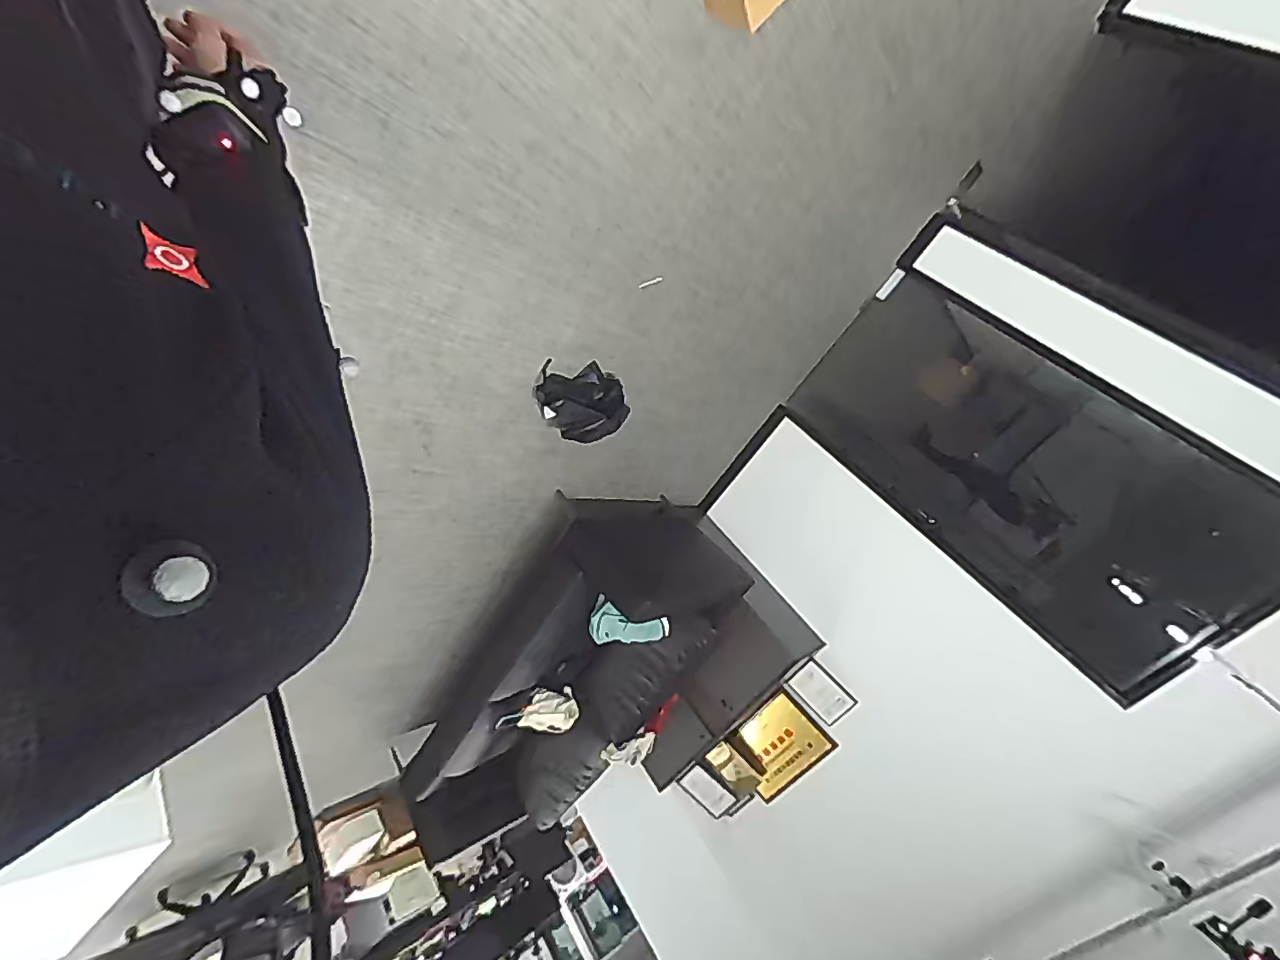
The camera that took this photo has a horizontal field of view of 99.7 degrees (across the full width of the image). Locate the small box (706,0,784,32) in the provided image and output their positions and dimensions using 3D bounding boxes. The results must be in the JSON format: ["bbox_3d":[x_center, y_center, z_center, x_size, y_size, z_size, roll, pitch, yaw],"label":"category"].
[{"bbox_3d":[0.244,-1.191,1.234,0.168,0.176,0.179,-43,151,6],"label":"small box"}]
